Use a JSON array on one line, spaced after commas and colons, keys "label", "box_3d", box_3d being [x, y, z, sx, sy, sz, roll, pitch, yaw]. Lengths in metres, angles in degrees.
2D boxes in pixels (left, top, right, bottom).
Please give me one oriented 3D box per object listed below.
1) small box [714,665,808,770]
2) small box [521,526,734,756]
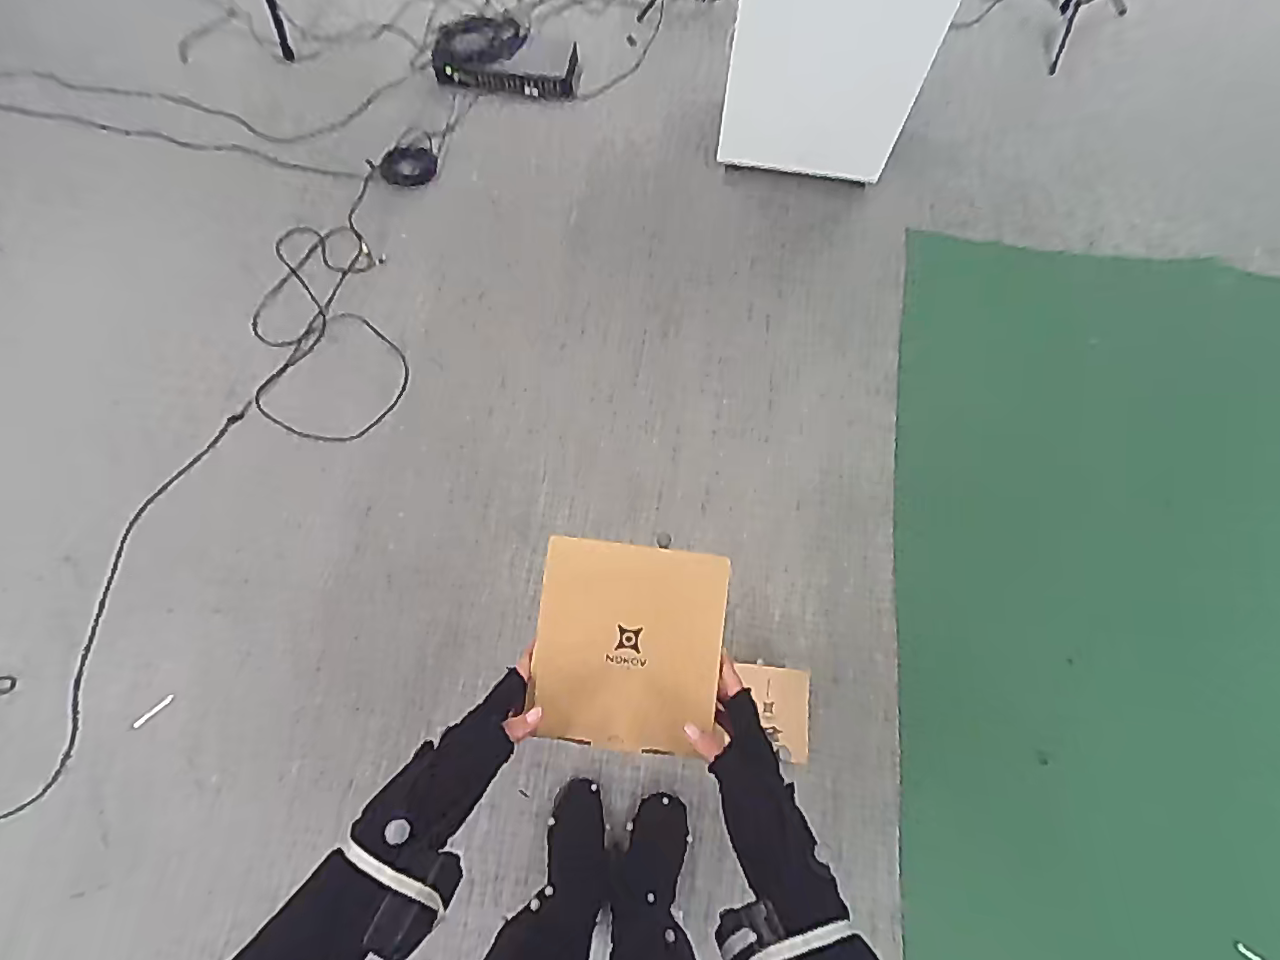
[{"label": "small box", "box_3d": [0.248, 0.493, 1.141, 0.168, 0.176, 0.179, 7, 69, 2]}, {"label": "small box", "box_3d": [-0.008, 0.144, 0.540, 0.168, 0.176, 0.179, 6, 84, 2]}]
